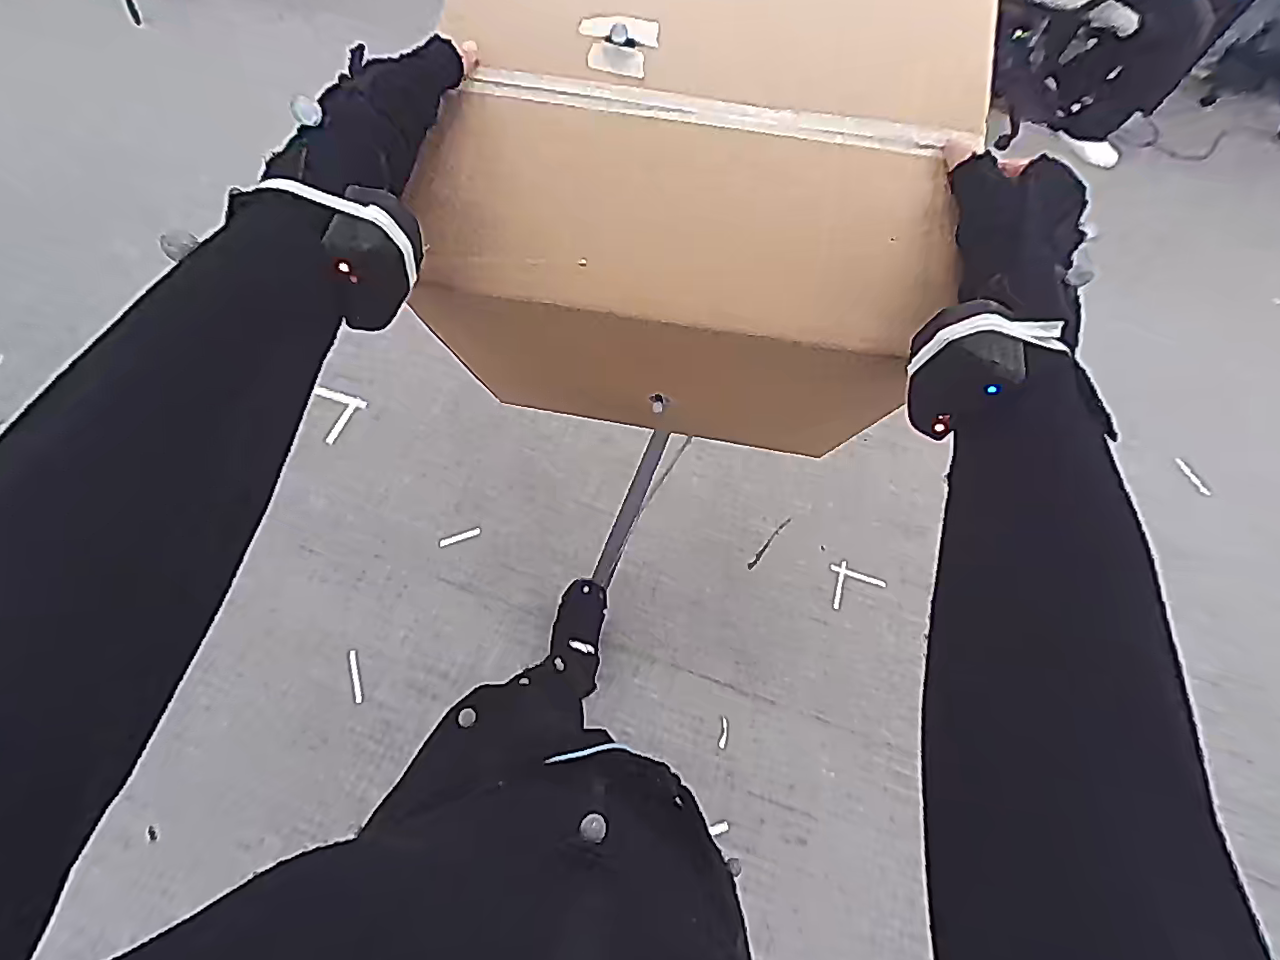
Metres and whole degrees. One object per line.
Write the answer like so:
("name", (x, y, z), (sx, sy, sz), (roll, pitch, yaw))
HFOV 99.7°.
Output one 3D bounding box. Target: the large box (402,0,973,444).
("large box", (0.048, -0.241, 0.559), (0.408, 0.320, 0.320), (10, 81, 4))
